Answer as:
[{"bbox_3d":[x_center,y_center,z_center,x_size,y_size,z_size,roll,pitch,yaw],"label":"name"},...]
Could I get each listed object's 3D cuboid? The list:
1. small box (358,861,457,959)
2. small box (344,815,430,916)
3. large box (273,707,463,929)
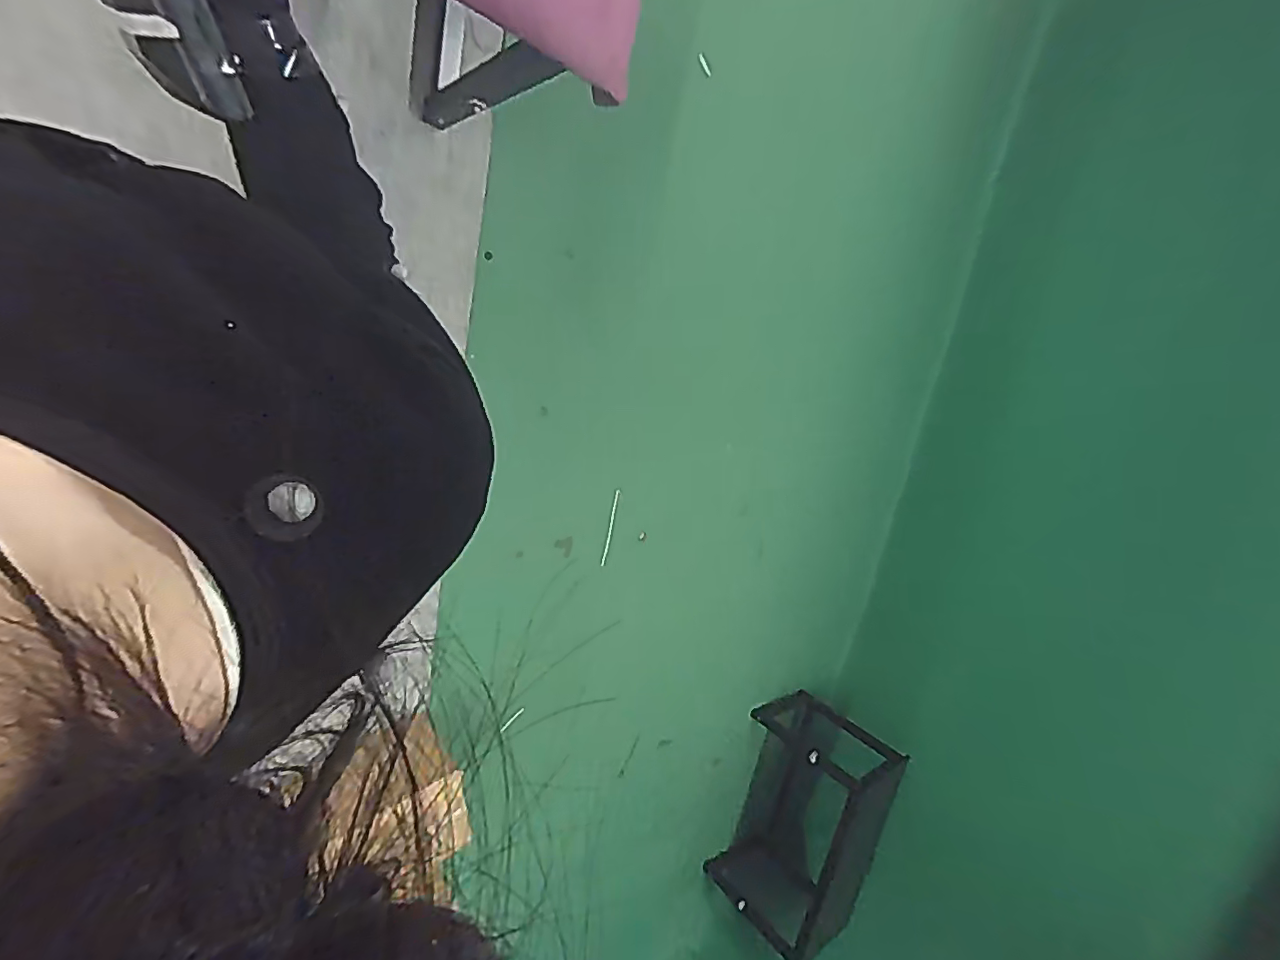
[{"bbox_3d":[-0.559,1.075,1.299,0.179,0.176,0.168,-9,113,-39],"label":"small box"},{"bbox_3d":[-0.661,1.021,1.413,0.168,0.176,0.179,-11,114,-39],"label":"small box"},{"bbox_3d":[-0.801,0.974,1.613,0.408,0.320,0.320,-18,120,-38],"label":"large box"}]
